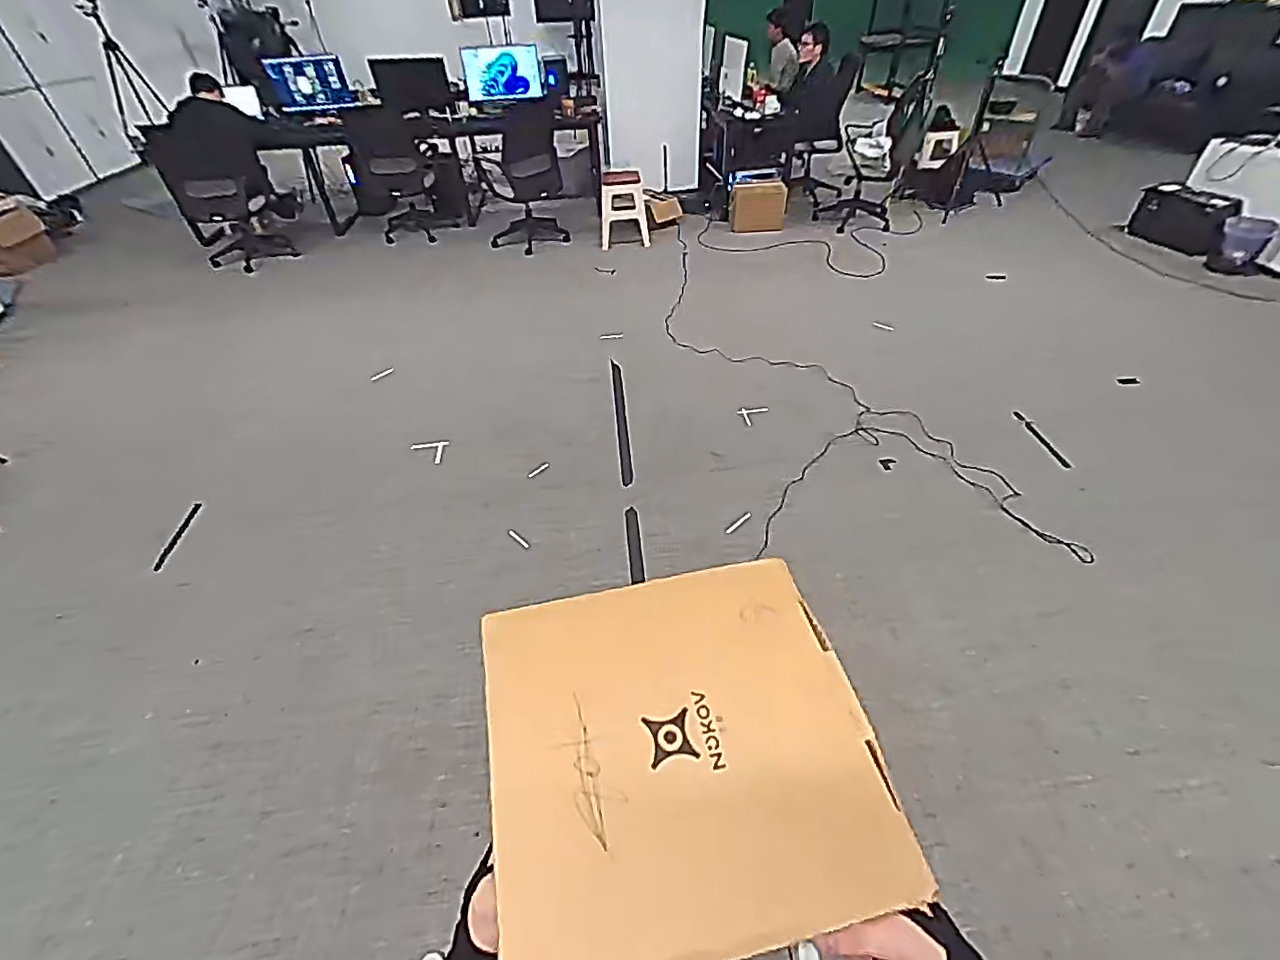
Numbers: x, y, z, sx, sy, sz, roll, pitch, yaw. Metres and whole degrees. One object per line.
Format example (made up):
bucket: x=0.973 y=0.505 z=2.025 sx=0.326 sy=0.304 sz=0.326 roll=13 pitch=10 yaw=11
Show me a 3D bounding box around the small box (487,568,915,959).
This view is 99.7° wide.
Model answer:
small box: x=0.016 y=0.179 z=0.326 sx=0.179 sy=0.176 sz=0.168 roll=-11 pitch=50 yaw=-8
